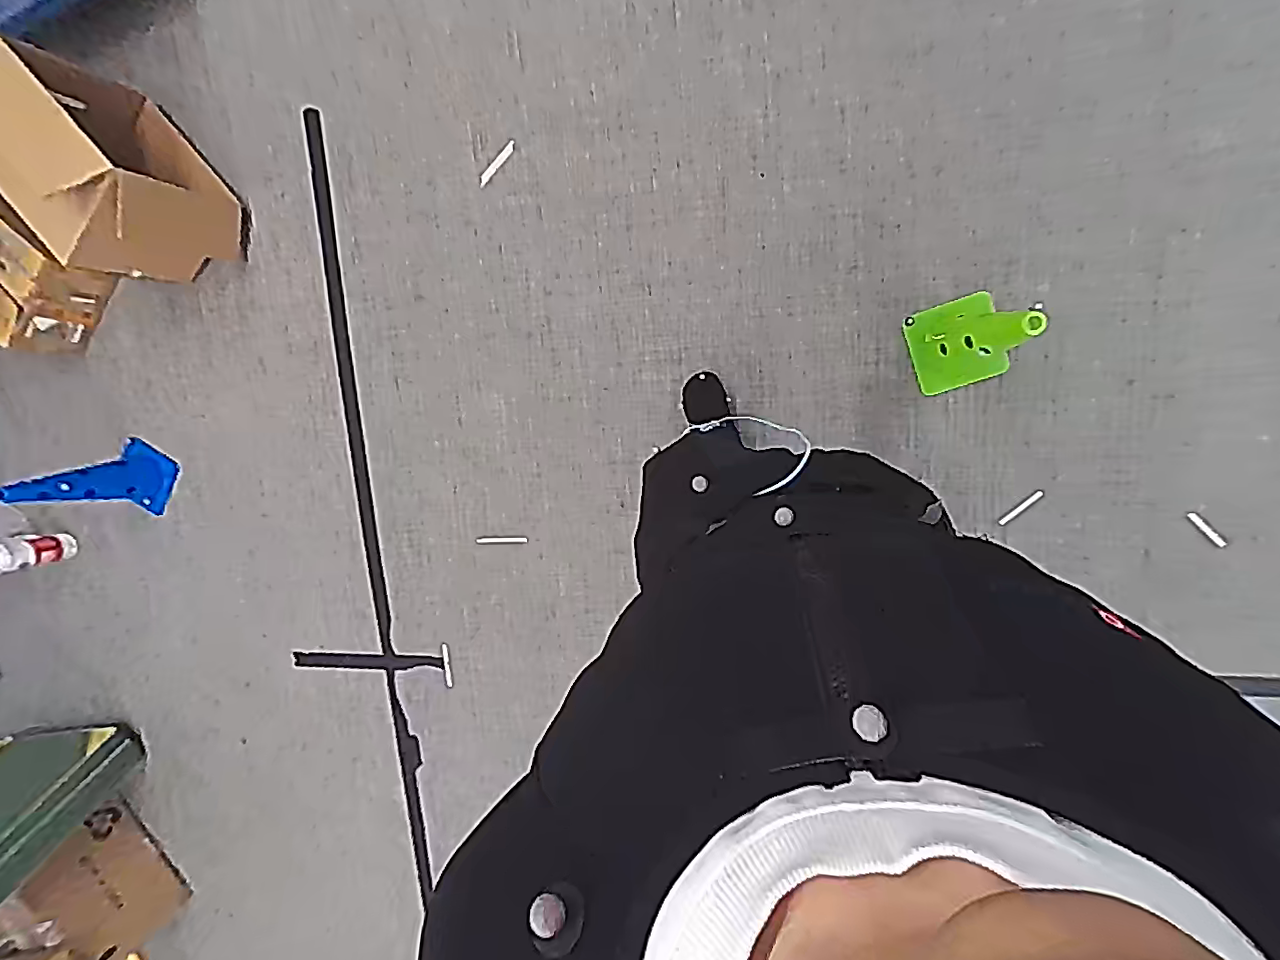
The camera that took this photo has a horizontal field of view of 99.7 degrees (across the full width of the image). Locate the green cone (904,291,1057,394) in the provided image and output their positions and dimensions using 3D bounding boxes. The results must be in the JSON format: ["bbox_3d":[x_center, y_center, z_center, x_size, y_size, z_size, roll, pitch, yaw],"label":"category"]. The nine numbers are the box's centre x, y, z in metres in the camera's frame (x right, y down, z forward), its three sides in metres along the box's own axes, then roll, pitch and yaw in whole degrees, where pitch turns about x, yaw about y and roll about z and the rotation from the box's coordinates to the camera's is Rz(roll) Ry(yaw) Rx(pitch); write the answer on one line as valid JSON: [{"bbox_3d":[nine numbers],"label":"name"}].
[{"bbox_3d":[0.725,-0.299,1.113,0.202,0.368,0.200,-19,95,11],"label":"green cone"}]

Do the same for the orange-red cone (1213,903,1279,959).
[{"bbox_3d":[1.529,1.184,1.186,0.199,0.360,0.198,5,98,10],"label":"orange-red cone"}]
